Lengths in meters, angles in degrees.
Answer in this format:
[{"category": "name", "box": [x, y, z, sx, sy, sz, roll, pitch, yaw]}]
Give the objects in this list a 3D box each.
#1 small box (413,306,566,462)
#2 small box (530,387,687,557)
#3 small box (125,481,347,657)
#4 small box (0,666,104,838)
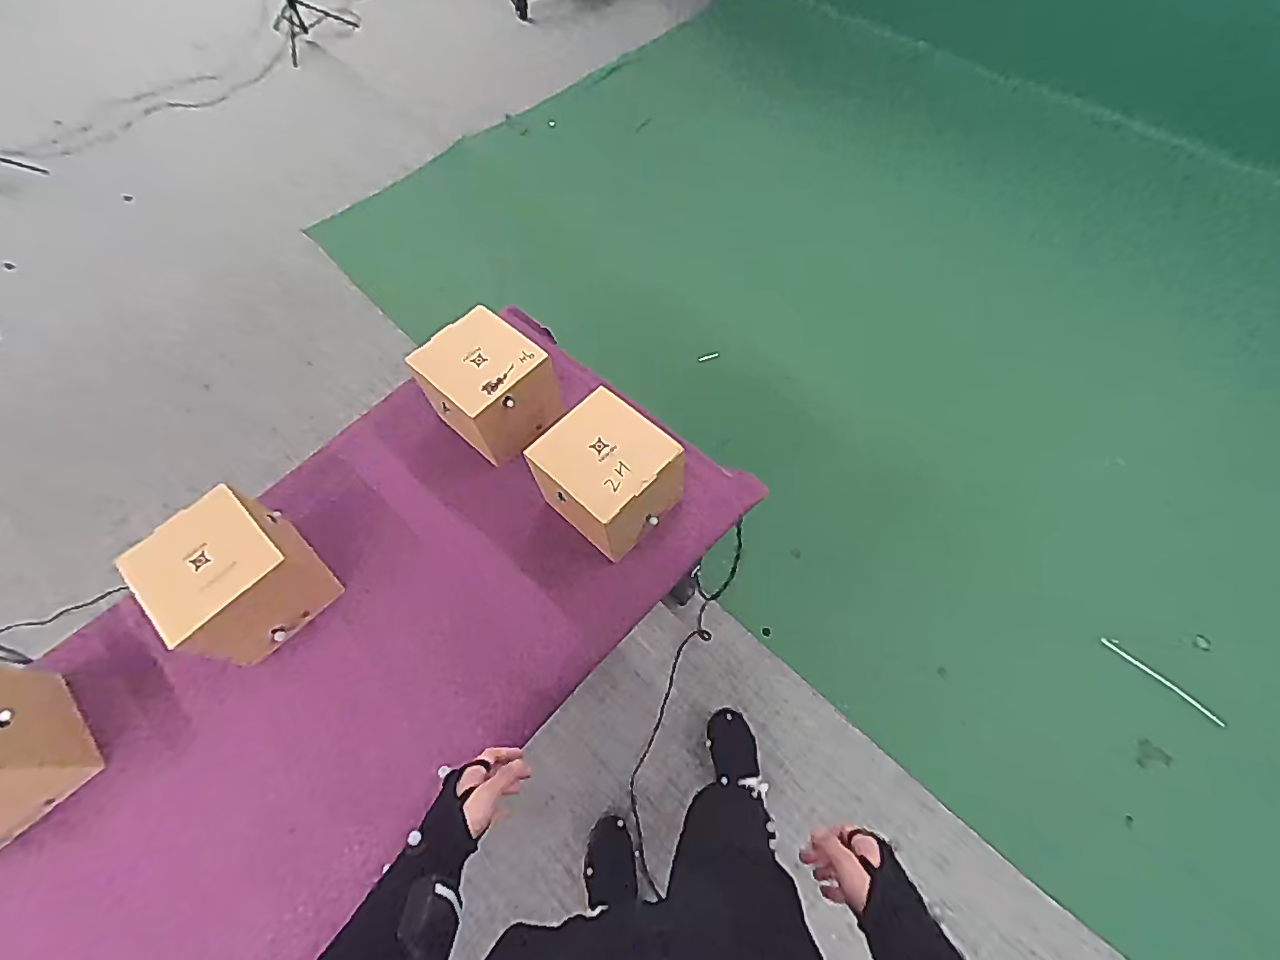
[{"category": "small box", "box": [-0.254, -0.162, 0.952, 0.179, 0.176, 0.168, 39, 71, 20]}, {"category": "small box", "box": [-0.044, -0.007, 0.859, 0.179, 0.176, 0.168, 41, 72, 21]}, {"category": "small box", "box": [-0.587, 0.140, 0.807, 0.179, 0.176, 0.168, 40, 71, 19]}, {"category": "small box", "box": [-0.865, 0.356, 0.698, 0.168, 0.176, 0.179, -41, 70, -19]}]
